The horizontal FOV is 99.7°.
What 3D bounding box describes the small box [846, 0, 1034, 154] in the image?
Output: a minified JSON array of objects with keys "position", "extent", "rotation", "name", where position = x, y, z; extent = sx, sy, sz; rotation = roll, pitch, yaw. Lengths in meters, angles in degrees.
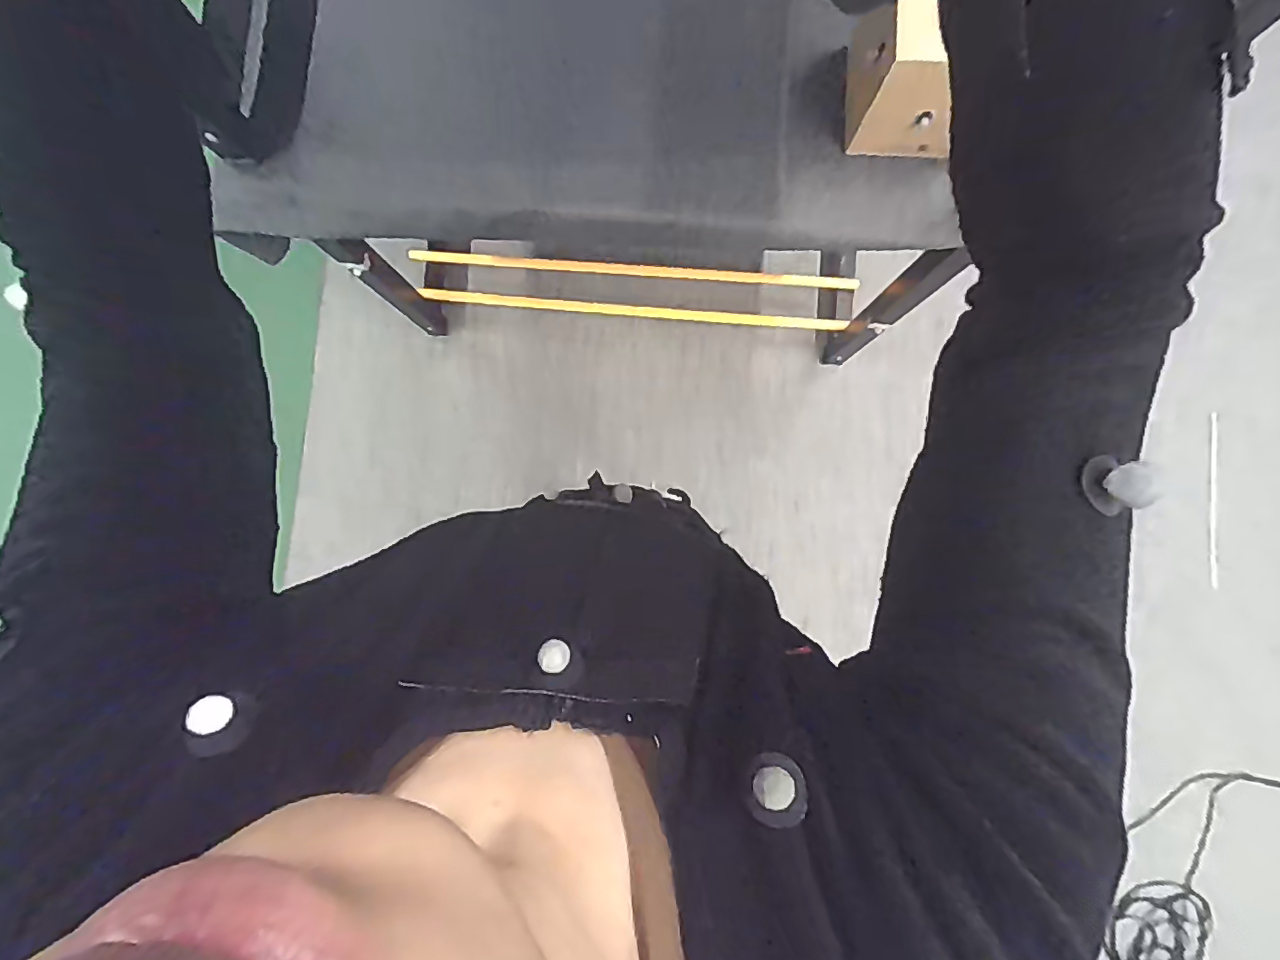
[{"position":[0.386,-0.569,0.722],"extent":[0.168,0.176,0.179],"rotation":[3,85,1],"name":"small box"}]
